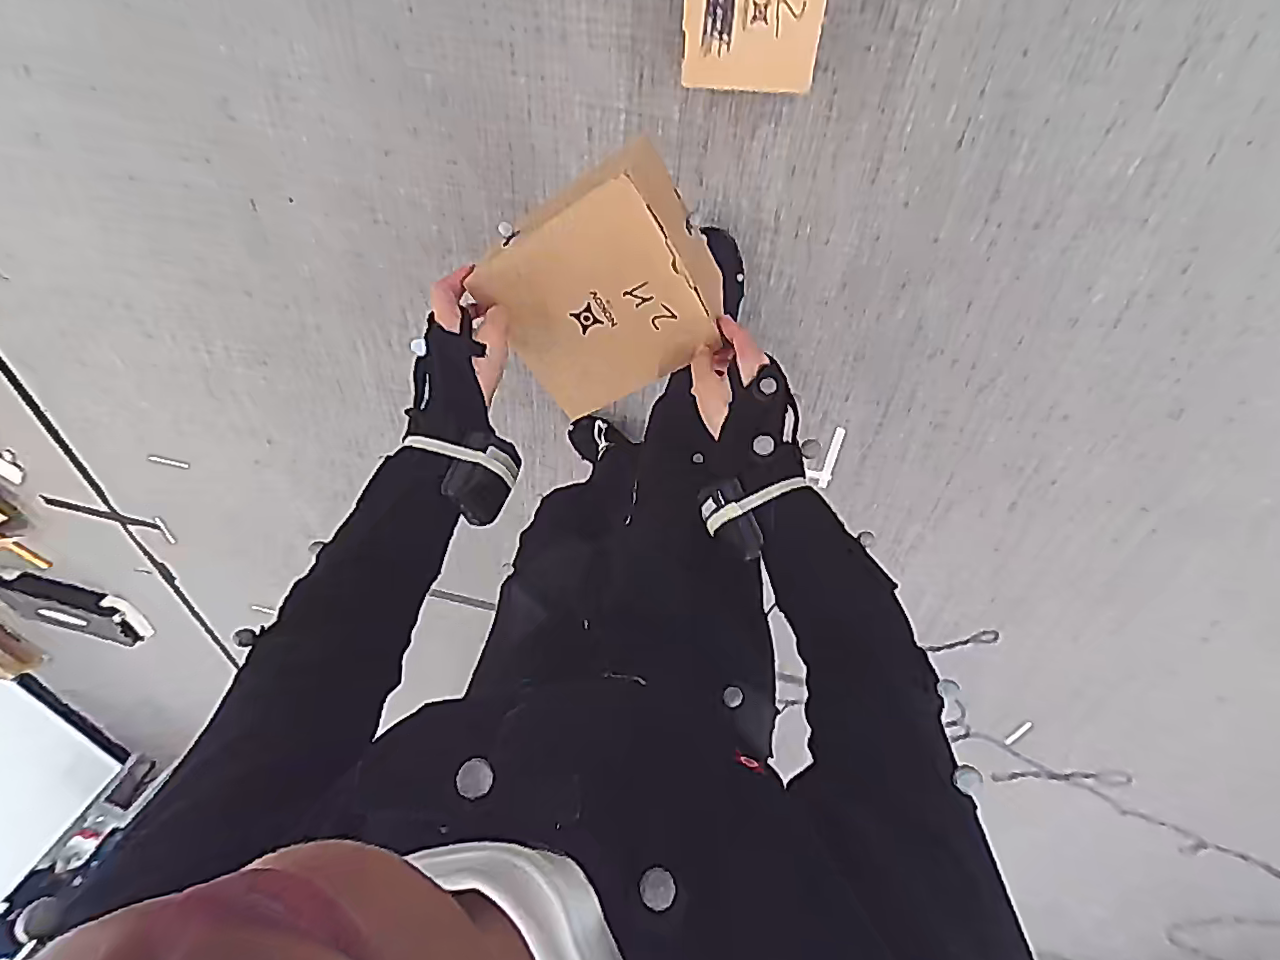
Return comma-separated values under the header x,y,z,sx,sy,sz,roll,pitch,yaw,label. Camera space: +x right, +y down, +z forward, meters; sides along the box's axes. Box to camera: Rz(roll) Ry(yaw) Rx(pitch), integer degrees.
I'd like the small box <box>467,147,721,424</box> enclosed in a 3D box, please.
x,y,z,sx,sy,sz,roll,pitch,yaw,label
-0.030,-0.191,0.536,0.179,0.176,0.168,-22,125,24,small box
